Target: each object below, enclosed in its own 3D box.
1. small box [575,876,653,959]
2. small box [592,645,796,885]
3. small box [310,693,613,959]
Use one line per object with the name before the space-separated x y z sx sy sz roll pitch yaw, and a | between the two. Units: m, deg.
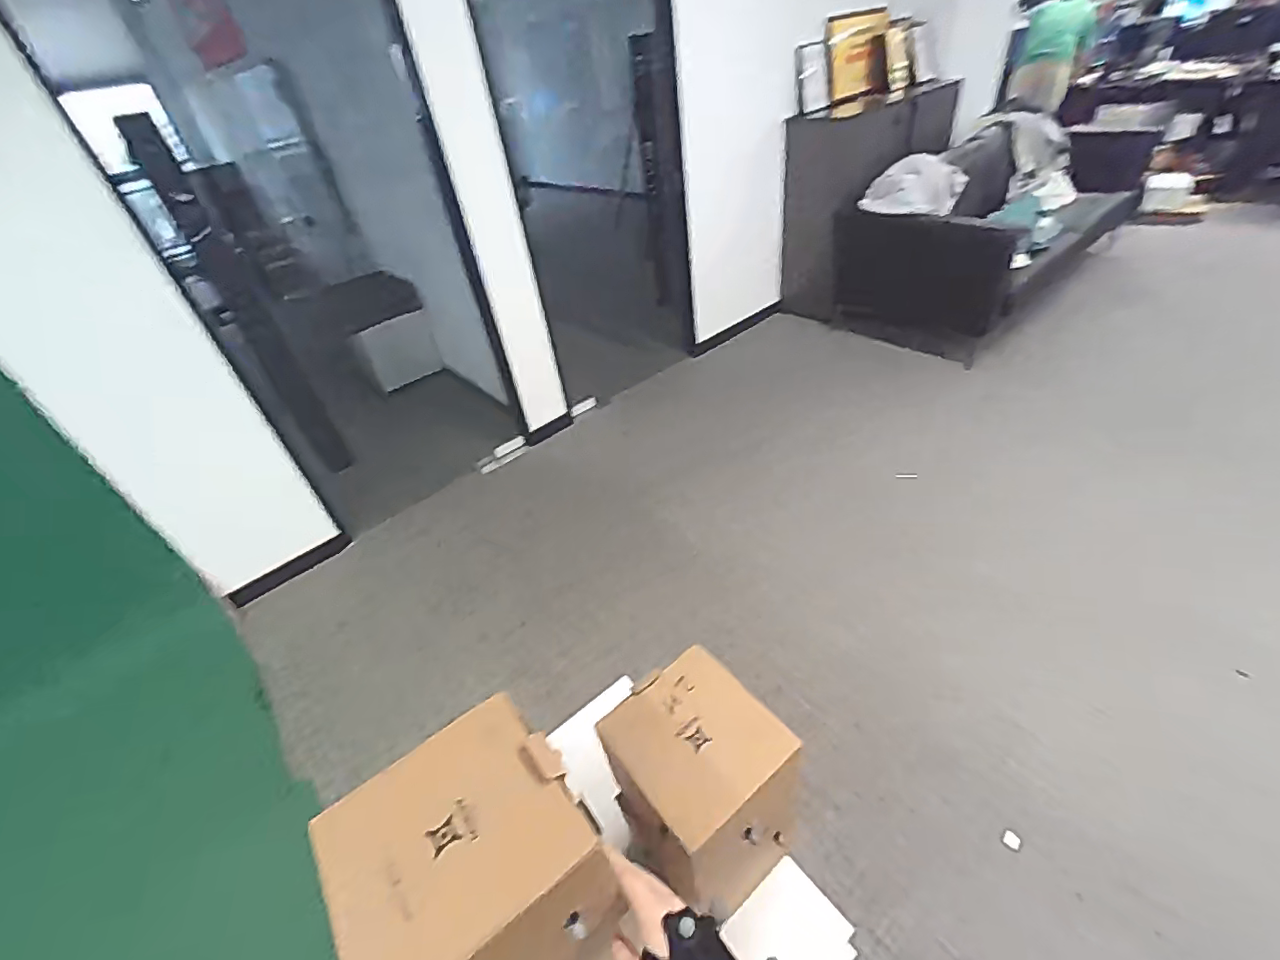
small box | -0.101 0.577 0.676 0.179 0.176 0.168 -31 44 -26
small box | 0.068 0.348 0.660 0.168 0.176 0.179 -31 43 -24
small box | -0.137 0.331 0.461 0.179 0.176 0.168 -31 43 -25
